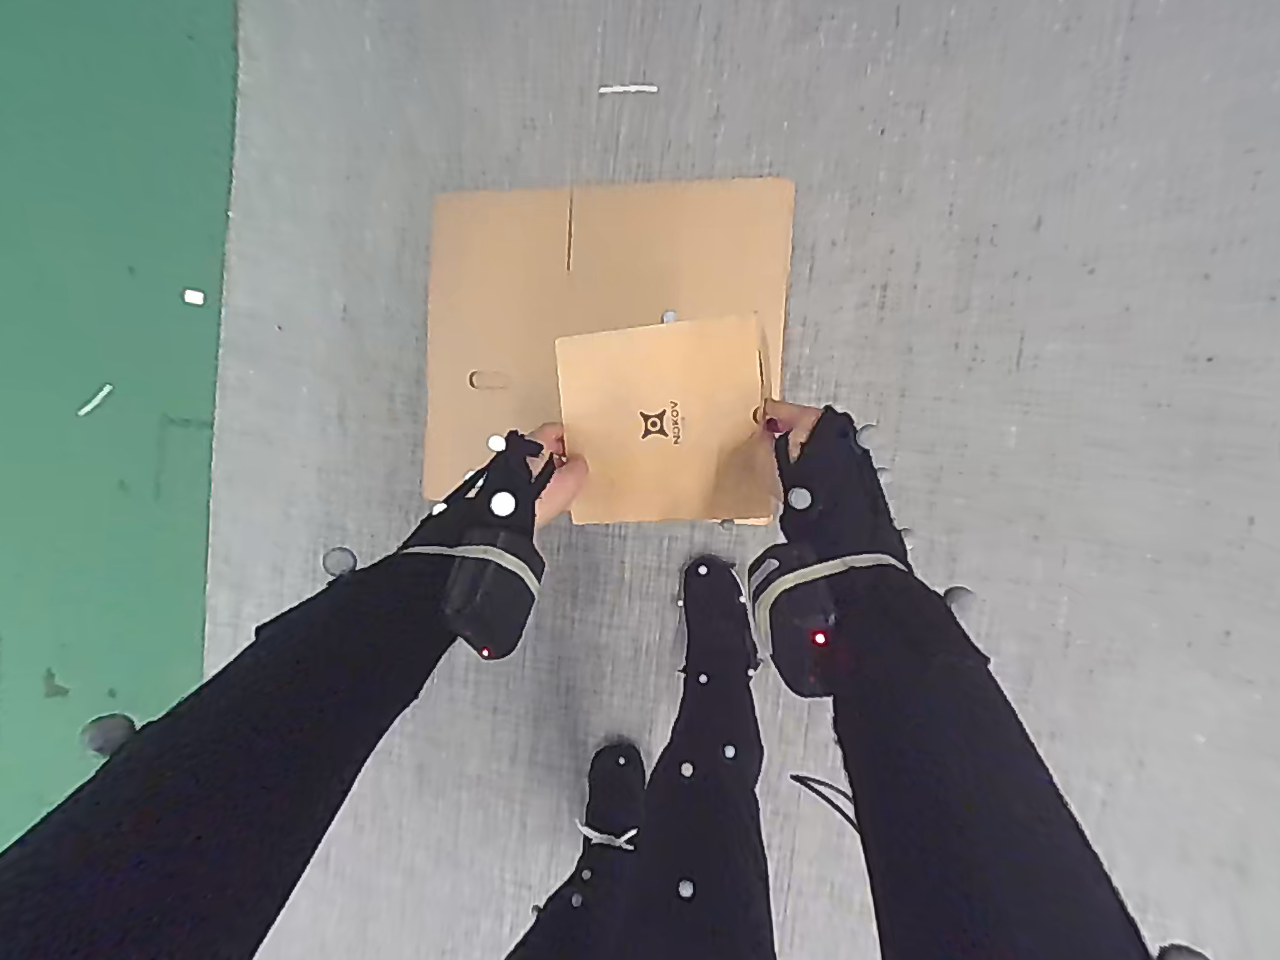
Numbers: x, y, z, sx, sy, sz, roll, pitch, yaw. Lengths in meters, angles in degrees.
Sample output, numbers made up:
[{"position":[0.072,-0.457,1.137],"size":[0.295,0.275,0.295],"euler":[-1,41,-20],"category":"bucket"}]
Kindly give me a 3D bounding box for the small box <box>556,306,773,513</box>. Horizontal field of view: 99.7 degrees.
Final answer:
[{"position":[0.035,-0.061,0.531],"size":[0.179,0.176,0.168],"euler":[-3,95,15],"category":"small box"}]
